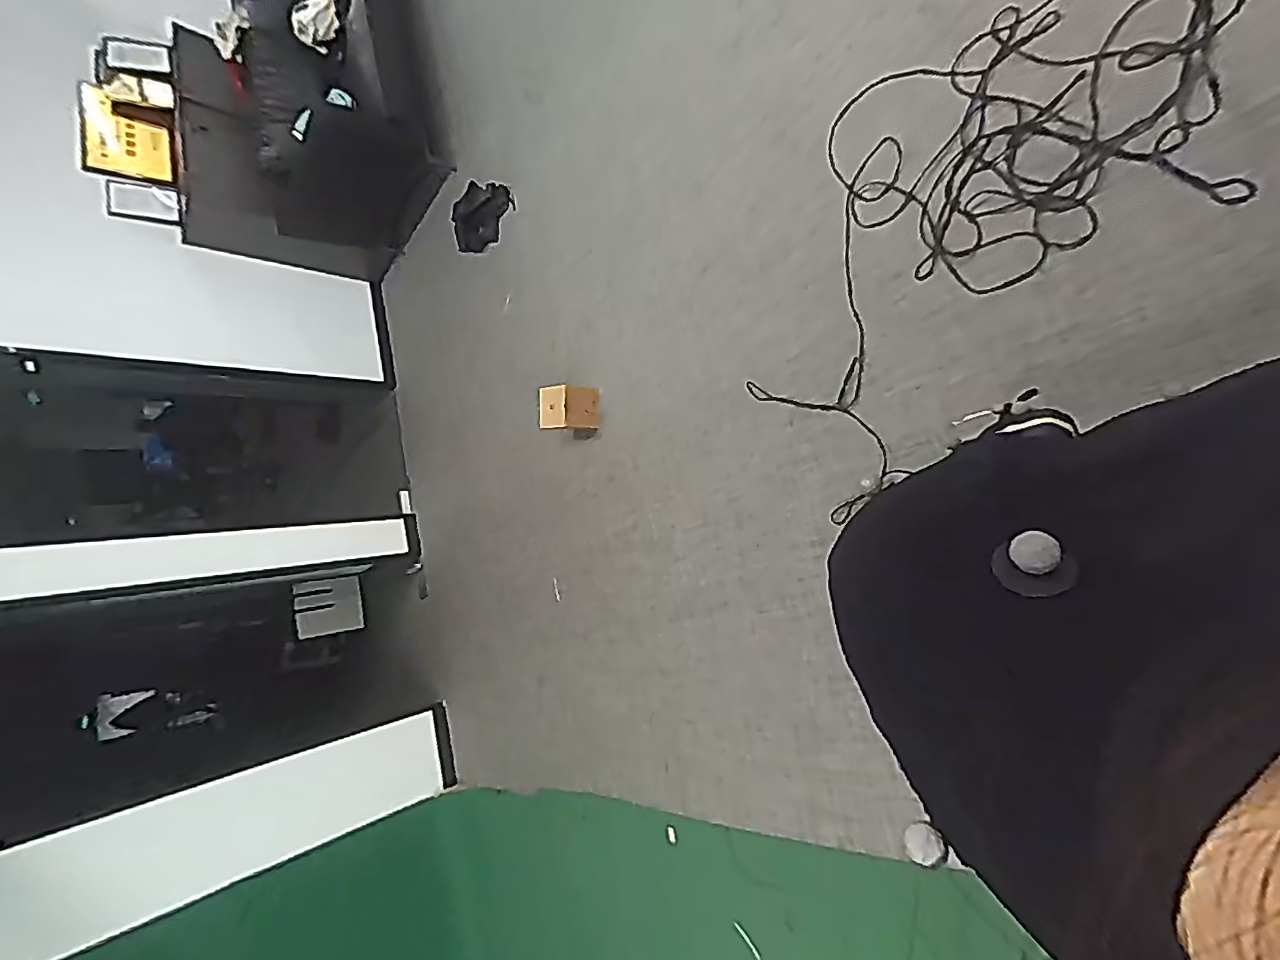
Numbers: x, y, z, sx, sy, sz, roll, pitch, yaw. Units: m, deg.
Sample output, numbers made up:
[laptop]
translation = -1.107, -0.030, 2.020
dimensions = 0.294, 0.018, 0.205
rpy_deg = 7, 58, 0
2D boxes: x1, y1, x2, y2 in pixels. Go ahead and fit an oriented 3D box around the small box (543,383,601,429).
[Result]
[small box]
translation = -0.276, -0.296, 2.184
dimensions = 0.179, 0.176, 0.168
rpy_deg = 2, 93, 46
